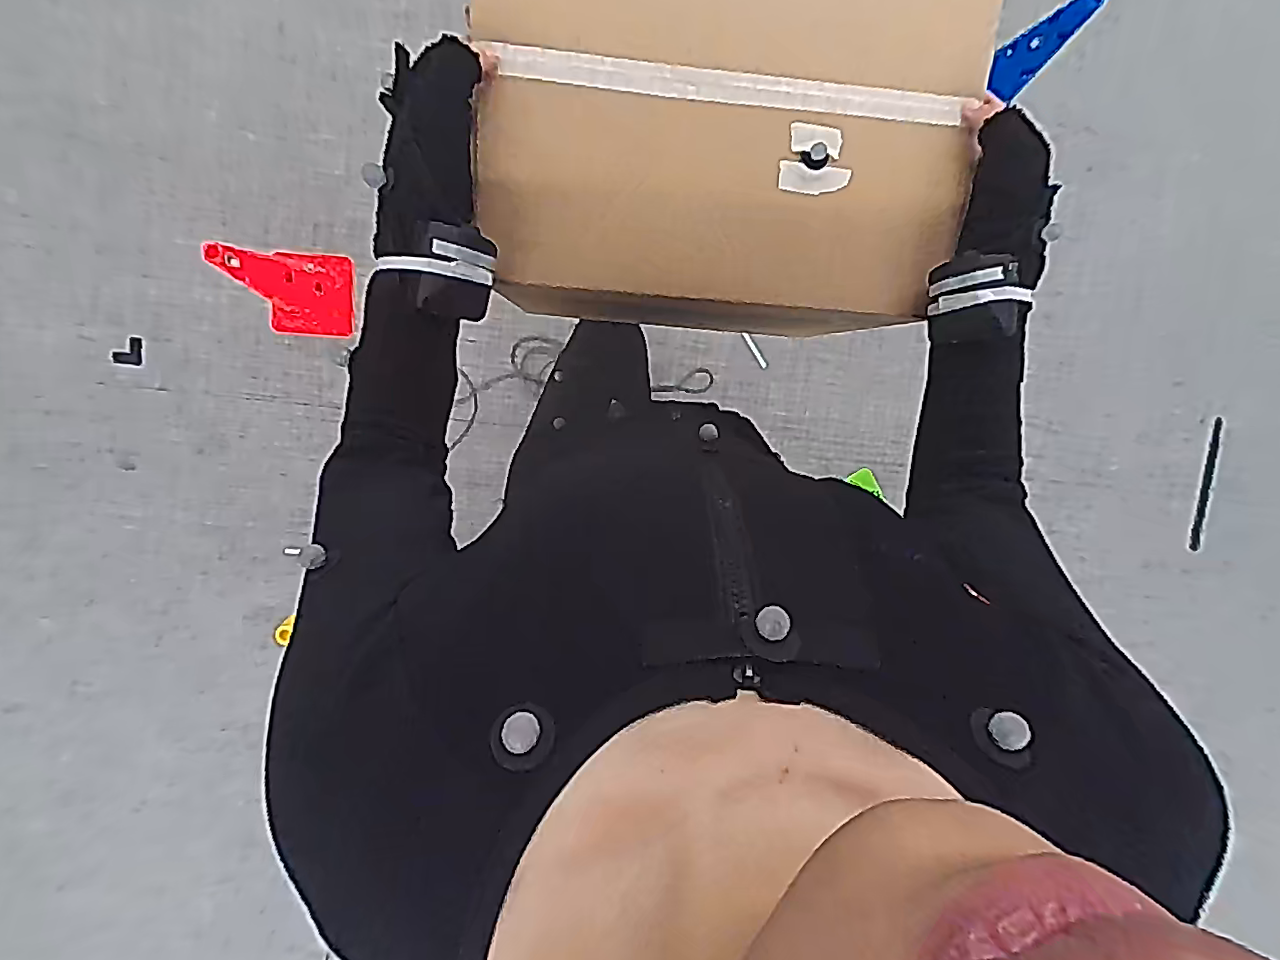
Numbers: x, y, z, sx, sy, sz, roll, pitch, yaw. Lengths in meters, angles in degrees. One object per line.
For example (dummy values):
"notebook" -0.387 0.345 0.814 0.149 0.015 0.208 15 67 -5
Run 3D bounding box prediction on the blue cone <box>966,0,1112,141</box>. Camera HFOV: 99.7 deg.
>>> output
"blue cone" 0.895 -0.981 1.254 0.192 0.380 0.193 9 96 -6

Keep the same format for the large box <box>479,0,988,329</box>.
"large box" 0.061 -0.341 0.573 0.408 0.320 0.320 3 102 -6

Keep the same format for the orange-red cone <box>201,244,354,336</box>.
"orange-red cone" -0.810 -0.444 1.185 0.198 0.360 0.199 4 98 -3

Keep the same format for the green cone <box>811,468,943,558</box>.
"green cone" 0.615 0.112 1.342 0.202 0.368 0.200 -31 98 -1
